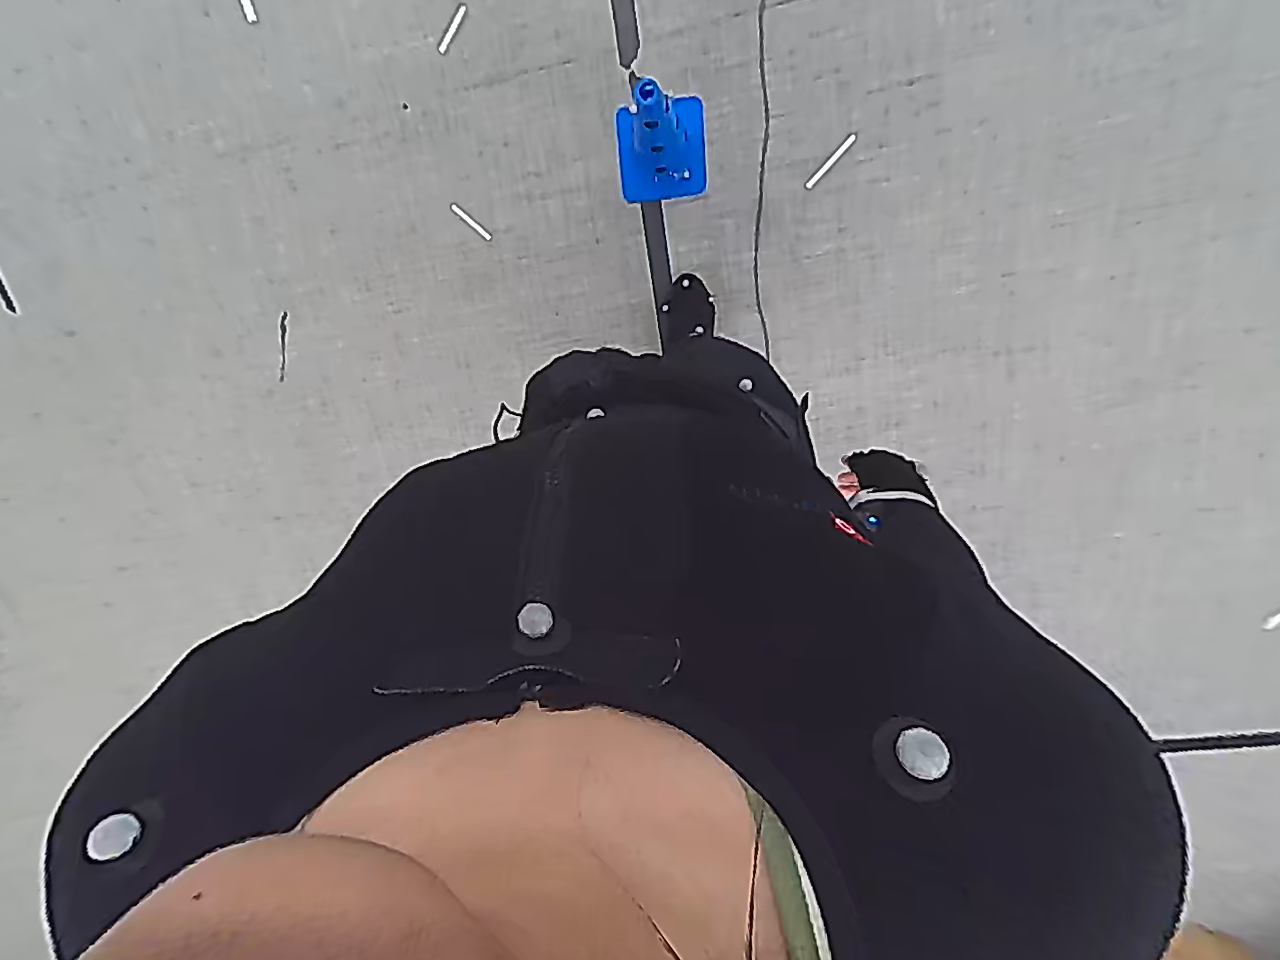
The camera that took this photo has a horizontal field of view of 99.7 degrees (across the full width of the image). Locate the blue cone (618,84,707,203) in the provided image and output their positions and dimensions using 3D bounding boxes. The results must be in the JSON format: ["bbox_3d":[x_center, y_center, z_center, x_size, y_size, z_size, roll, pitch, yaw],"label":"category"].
[{"bbox_3d":[0.034,-0.698,1.068,0.193,0.380,0.192,-5,106,7],"label":"blue cone"}]
